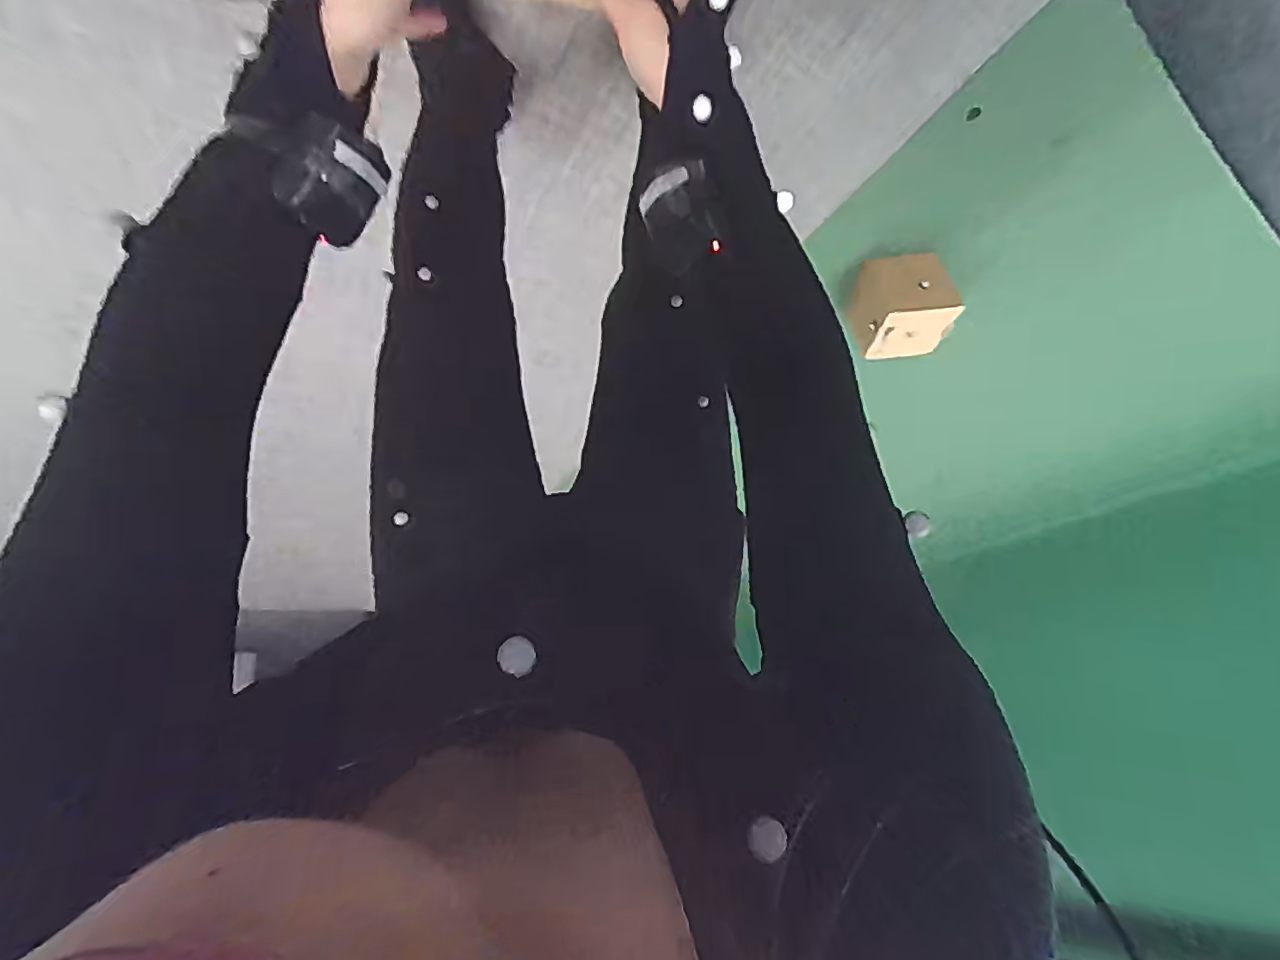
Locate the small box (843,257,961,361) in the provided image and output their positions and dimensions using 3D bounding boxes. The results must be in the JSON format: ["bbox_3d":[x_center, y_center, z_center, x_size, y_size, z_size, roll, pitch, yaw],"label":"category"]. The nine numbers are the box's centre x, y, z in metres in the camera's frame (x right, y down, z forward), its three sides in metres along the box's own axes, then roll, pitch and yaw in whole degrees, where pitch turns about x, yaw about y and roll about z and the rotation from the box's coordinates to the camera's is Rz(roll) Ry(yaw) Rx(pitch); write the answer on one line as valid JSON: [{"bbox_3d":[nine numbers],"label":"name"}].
[{"bbox_3d":[0.613,-0.410,1.290,0.179,0.176,0.168,-7,156,-3],"label":"small box"}]
